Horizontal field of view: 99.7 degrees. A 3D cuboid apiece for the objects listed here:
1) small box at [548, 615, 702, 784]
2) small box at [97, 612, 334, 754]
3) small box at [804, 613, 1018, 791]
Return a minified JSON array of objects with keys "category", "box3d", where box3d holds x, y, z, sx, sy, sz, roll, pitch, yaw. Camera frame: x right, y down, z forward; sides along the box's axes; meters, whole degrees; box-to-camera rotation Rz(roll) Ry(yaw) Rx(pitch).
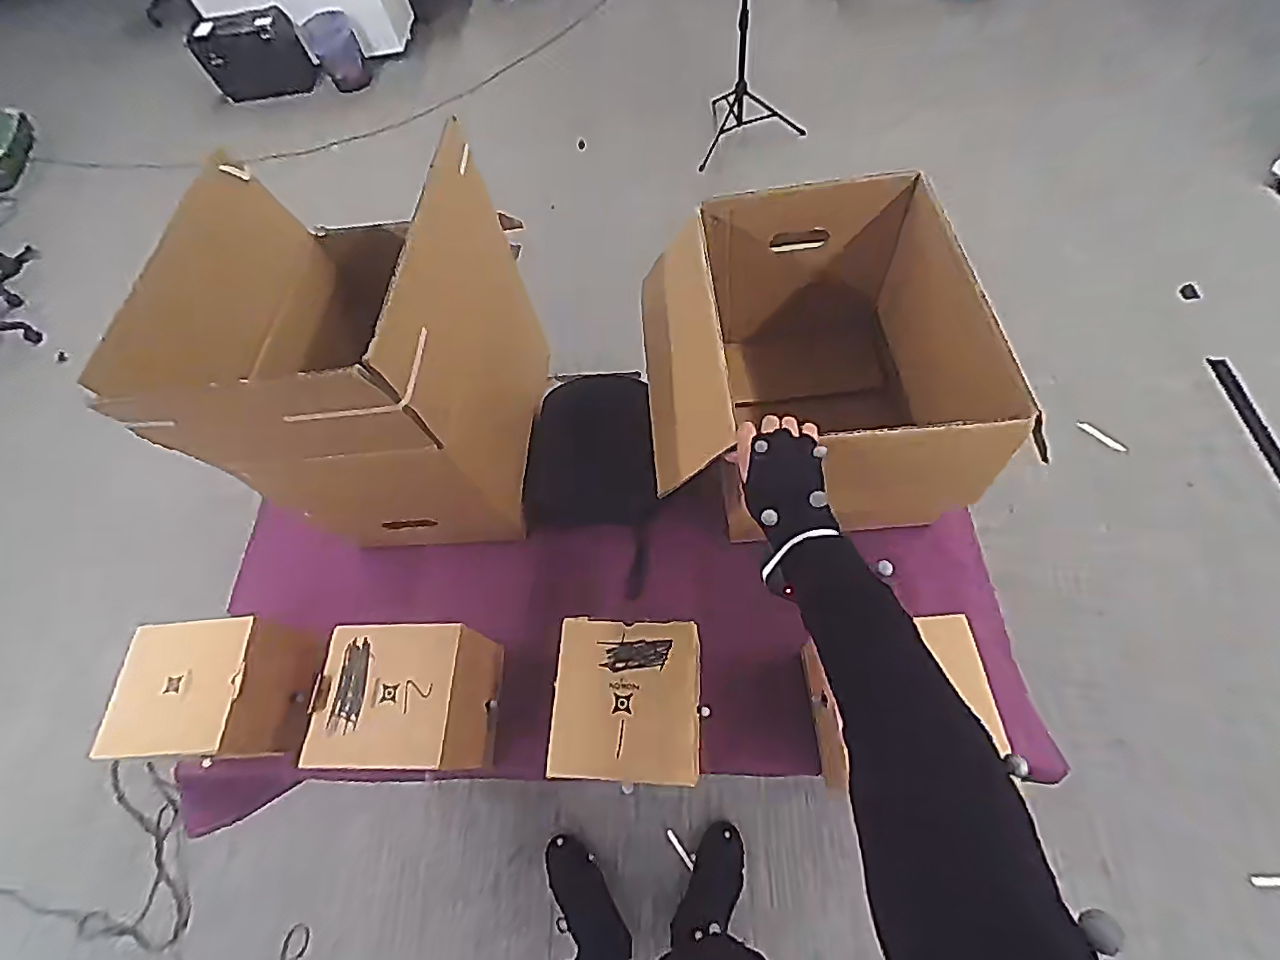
[{"category":"small box","box3d":[-0.007,0.281,0.694,0.168,0.176,0.179,0,64,8]},{"category":"small box","box3d":[-0.583,0.294,0.770,0.179,0.176,0.168,-5,63,4]},{"category":"small box","box3d":[0.303,0.271,0.654,0.168,0.176,0.179,-6,63,6]}]
